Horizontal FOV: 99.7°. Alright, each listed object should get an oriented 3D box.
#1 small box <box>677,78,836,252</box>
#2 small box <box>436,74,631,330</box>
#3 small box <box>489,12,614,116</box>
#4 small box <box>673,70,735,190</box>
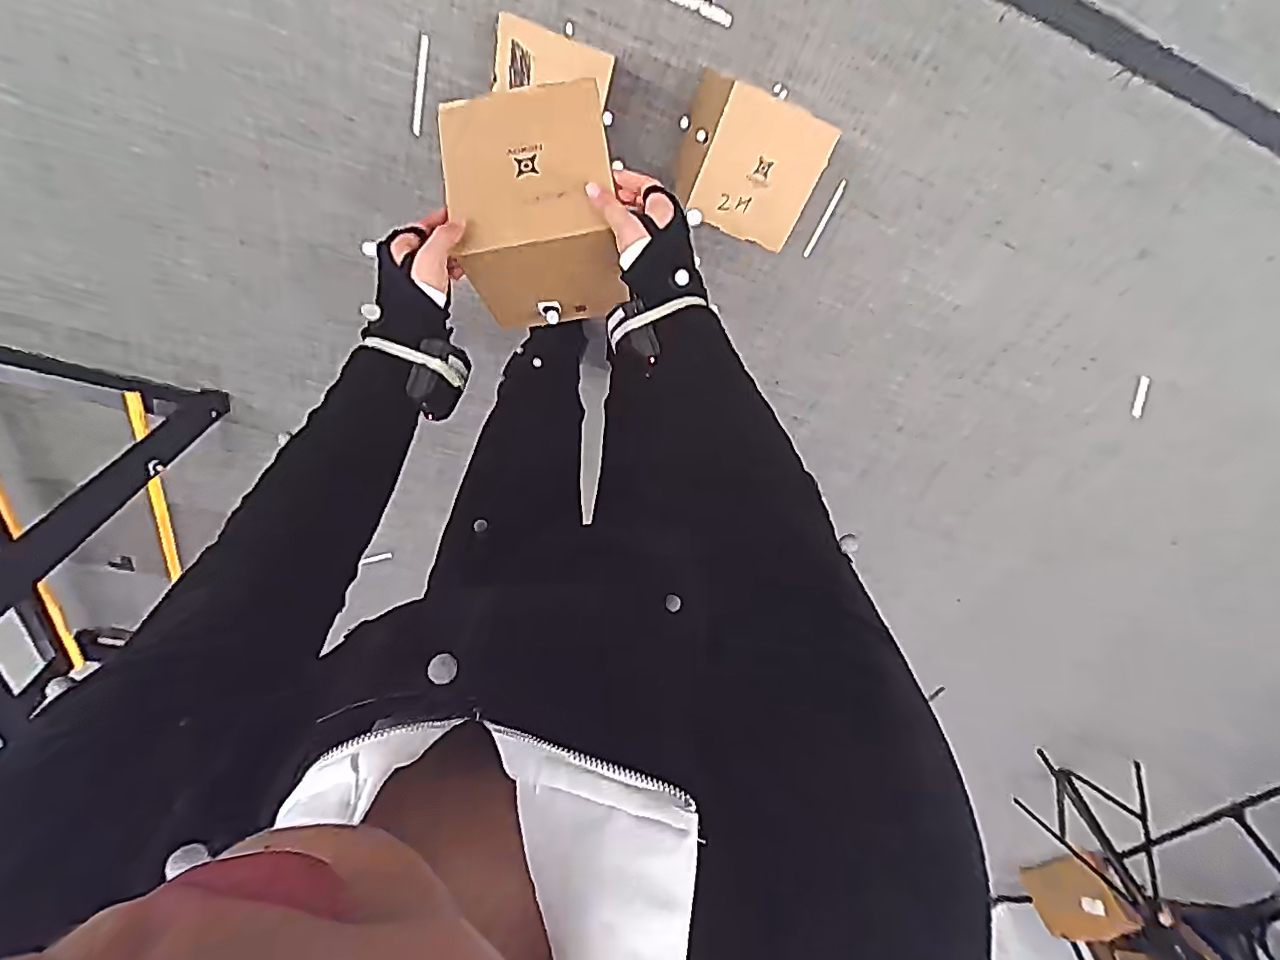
[{"bbox_3d":[0.163,-0.489,0.835,0.168,0.176,0.179,16,126,-14],"label":"small box"},{"bbox_3d":[-0.107,-0.294,0.603,0.168,0.179,0.176,-10,171,2],"label":"small box"},{"bbox_3d":[-0.149,-0.645,0.909,0.179,0.176,0.168,13,127,-13],"label":"small box"},{"bbox_3d":[0.164,-0.596,0.963,0.168,0.176,0.179,14,127,-13],"label":"small box"}]
